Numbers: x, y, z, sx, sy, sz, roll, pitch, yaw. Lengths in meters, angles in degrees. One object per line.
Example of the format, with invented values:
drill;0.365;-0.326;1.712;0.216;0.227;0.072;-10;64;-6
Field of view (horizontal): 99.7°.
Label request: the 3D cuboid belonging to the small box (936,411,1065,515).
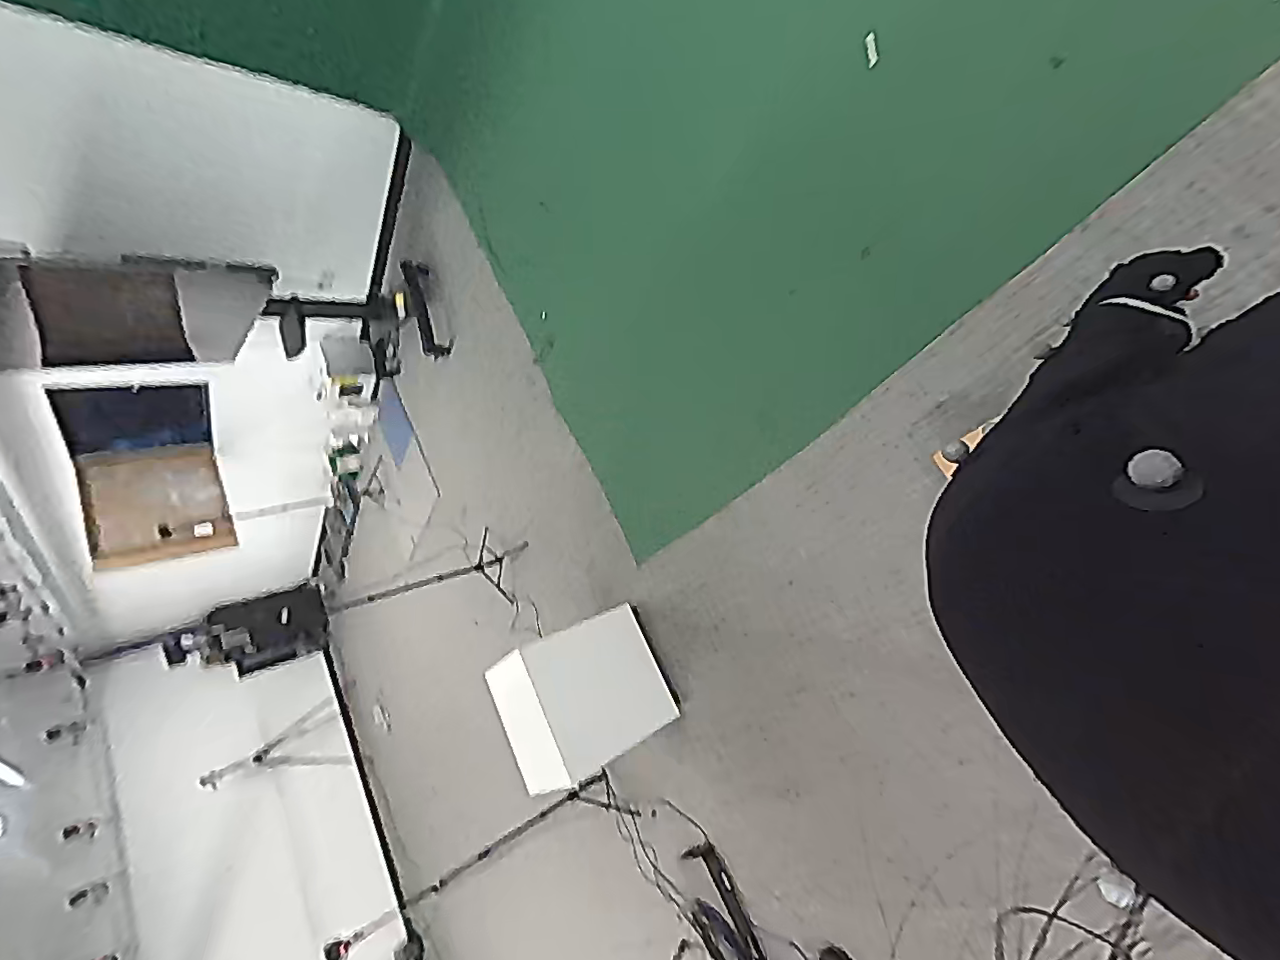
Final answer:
small box;0.825;-0.043;1.232;0.179;0.176;0.168;-45;66;44
